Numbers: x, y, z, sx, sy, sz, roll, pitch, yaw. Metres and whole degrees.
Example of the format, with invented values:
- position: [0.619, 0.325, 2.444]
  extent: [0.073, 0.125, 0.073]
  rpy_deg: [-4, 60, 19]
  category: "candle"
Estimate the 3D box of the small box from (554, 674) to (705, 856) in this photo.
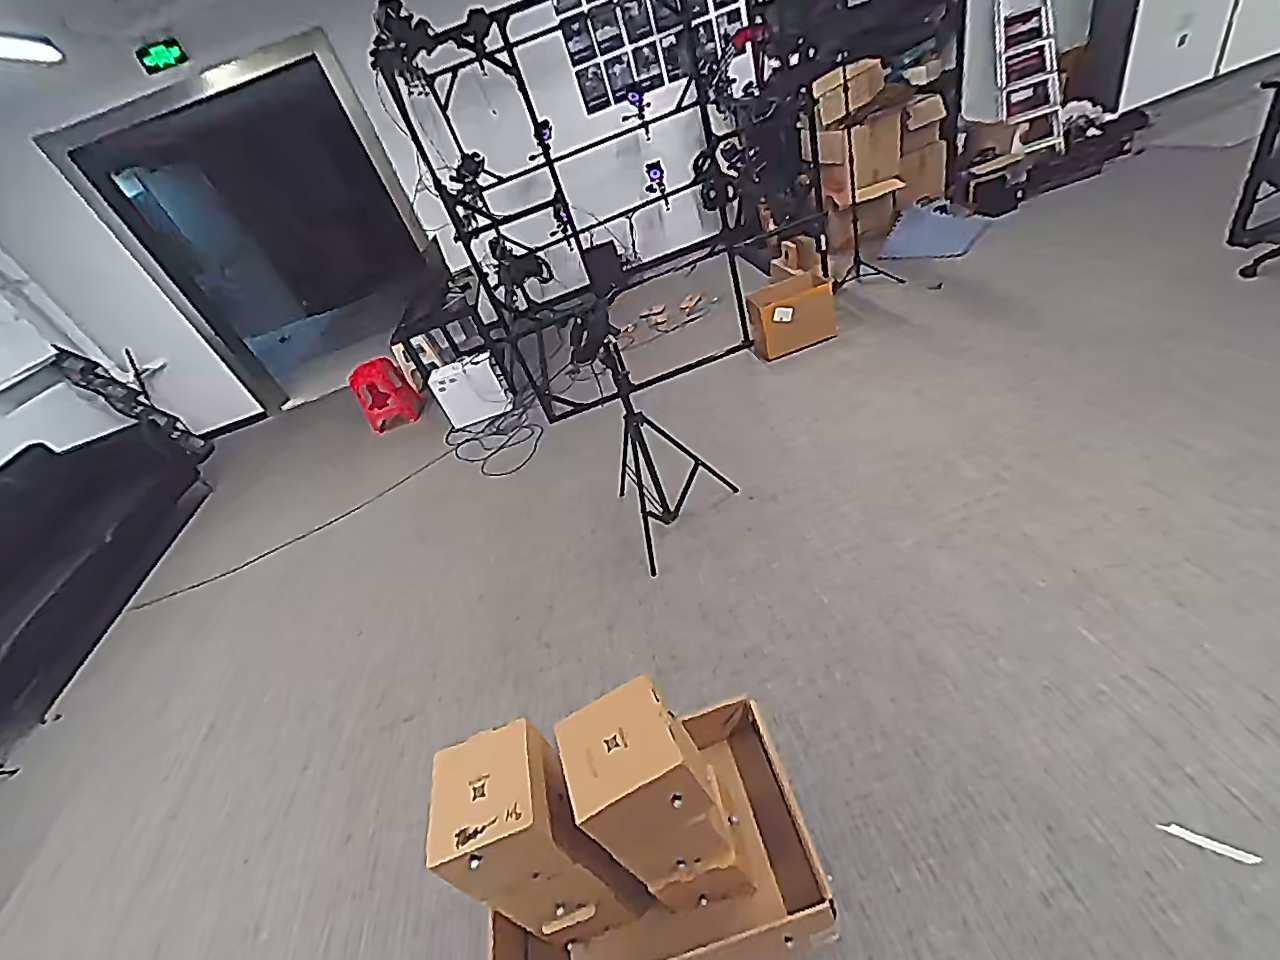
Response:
- position: [-0.011, 0.456, 0.867]
  extent: [0.179, 0.176, 0.168]
  rpy_deg: [-29, 36, -3]
  category: "small box"

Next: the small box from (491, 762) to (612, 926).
- position: [-0.164, 0.652, 0.971]
  extent: [0.168, 0.176, 0.179]
  rpy_deg: [-22, 36, 0]
  category: "small box"

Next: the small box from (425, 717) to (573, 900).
- position: [-0.220, 0.529, 0.874]
  extent: [0.168, 0.176, 0.179]
  rpy_deg: [-23, 35, 0]
  category: "small box"

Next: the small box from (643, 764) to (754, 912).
- position: [0.106, 0.698, 1.054]
  extent: [0.168, 0.176, 0.179]
  rpy_deg: [-22, 36, 6]
  category: "small box"
